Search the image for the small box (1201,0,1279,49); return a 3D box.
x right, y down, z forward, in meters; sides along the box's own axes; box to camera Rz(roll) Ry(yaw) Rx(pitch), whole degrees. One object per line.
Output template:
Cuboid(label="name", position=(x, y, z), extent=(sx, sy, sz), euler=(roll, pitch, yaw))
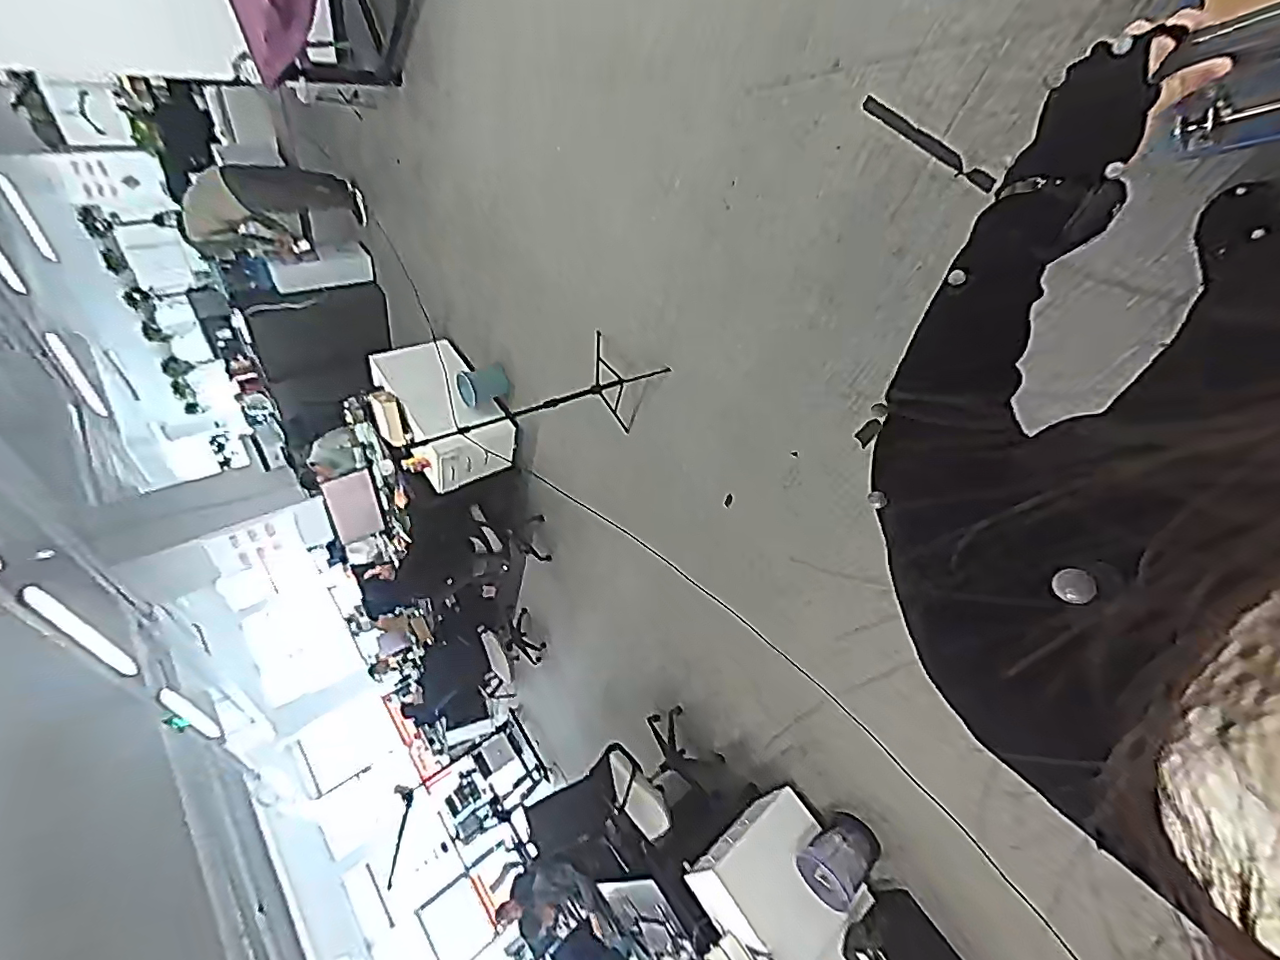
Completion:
Cuboid(label="small box", position=(0.843, -0.682, 0.680), extent=(0.168, 0.176, 0.179), euler=(6, 116, 52))
